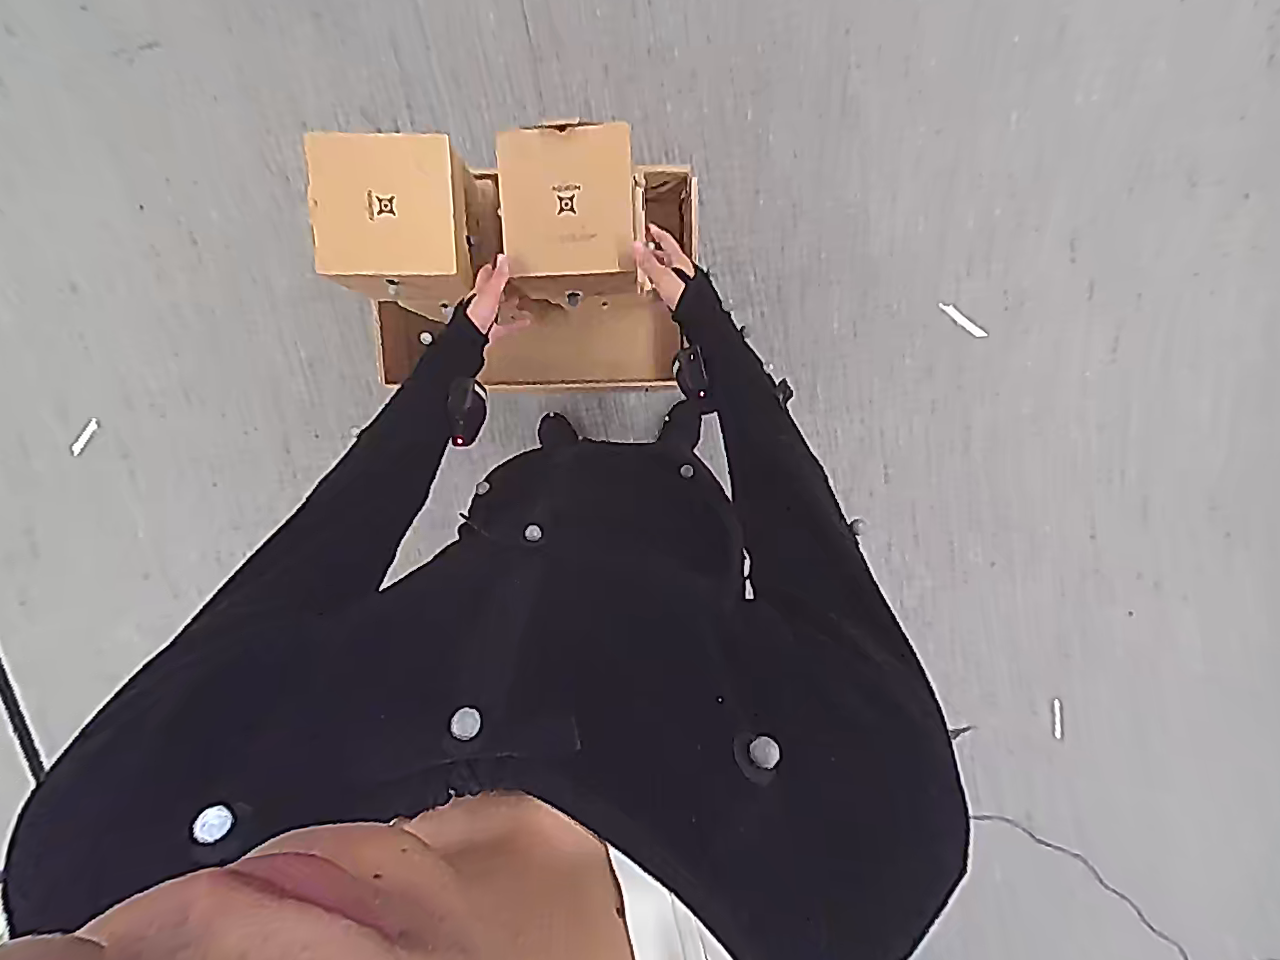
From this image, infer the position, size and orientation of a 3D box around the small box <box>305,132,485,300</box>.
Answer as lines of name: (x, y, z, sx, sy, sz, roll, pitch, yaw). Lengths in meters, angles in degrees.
small box: (-0.316, -0.347, 0.739, 0.179, 0.176, 0.168, -1, 98, -2)

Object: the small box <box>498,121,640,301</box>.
small box: (-0.086, -0.352, 0.738, 0.168, 0.176, 0.179, -2, 98, 2)
